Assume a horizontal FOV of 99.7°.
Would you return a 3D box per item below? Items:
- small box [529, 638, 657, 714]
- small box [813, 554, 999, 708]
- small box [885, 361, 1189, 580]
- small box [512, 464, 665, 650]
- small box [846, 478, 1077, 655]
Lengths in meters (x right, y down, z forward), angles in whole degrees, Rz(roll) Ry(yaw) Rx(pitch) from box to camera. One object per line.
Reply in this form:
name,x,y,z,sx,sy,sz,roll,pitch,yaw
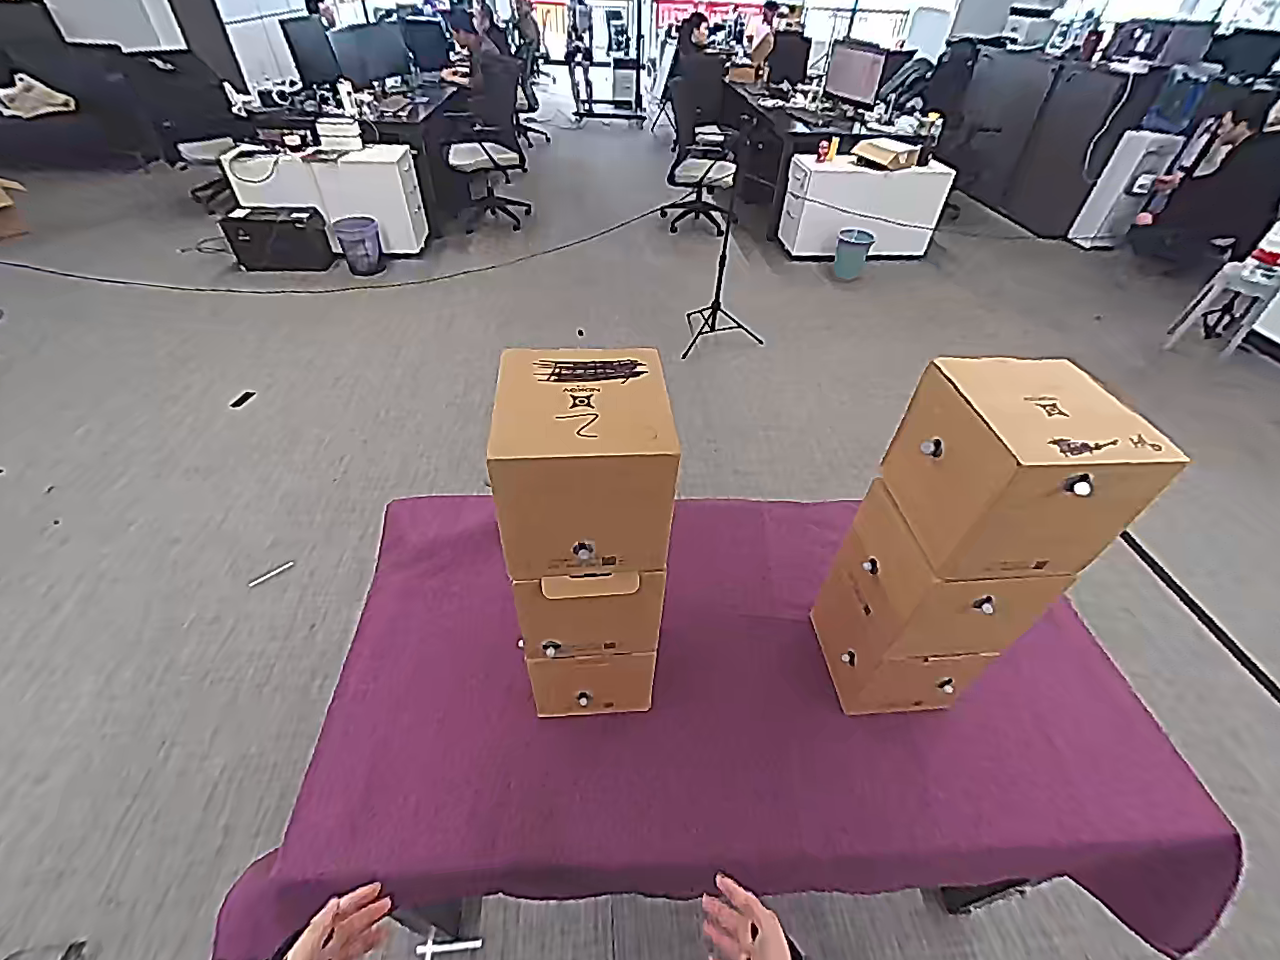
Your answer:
small box,-0.069,0.220,0.795,0.168,0.176,0.179,-1,44,-5
small box,0.380,0.228,0.811,0.168,0.176,0.179,-1,43,-5
small box,0.397,-0.012,0.588,0.168,0.176,0.179,-1,43,-5
small box,-0.063,0.100,0.683,0.168,0.176,0.179,-2,44,-6
small box,0.386,0.111,0.696,0.179,0.176,0.168,-1,44,-6
